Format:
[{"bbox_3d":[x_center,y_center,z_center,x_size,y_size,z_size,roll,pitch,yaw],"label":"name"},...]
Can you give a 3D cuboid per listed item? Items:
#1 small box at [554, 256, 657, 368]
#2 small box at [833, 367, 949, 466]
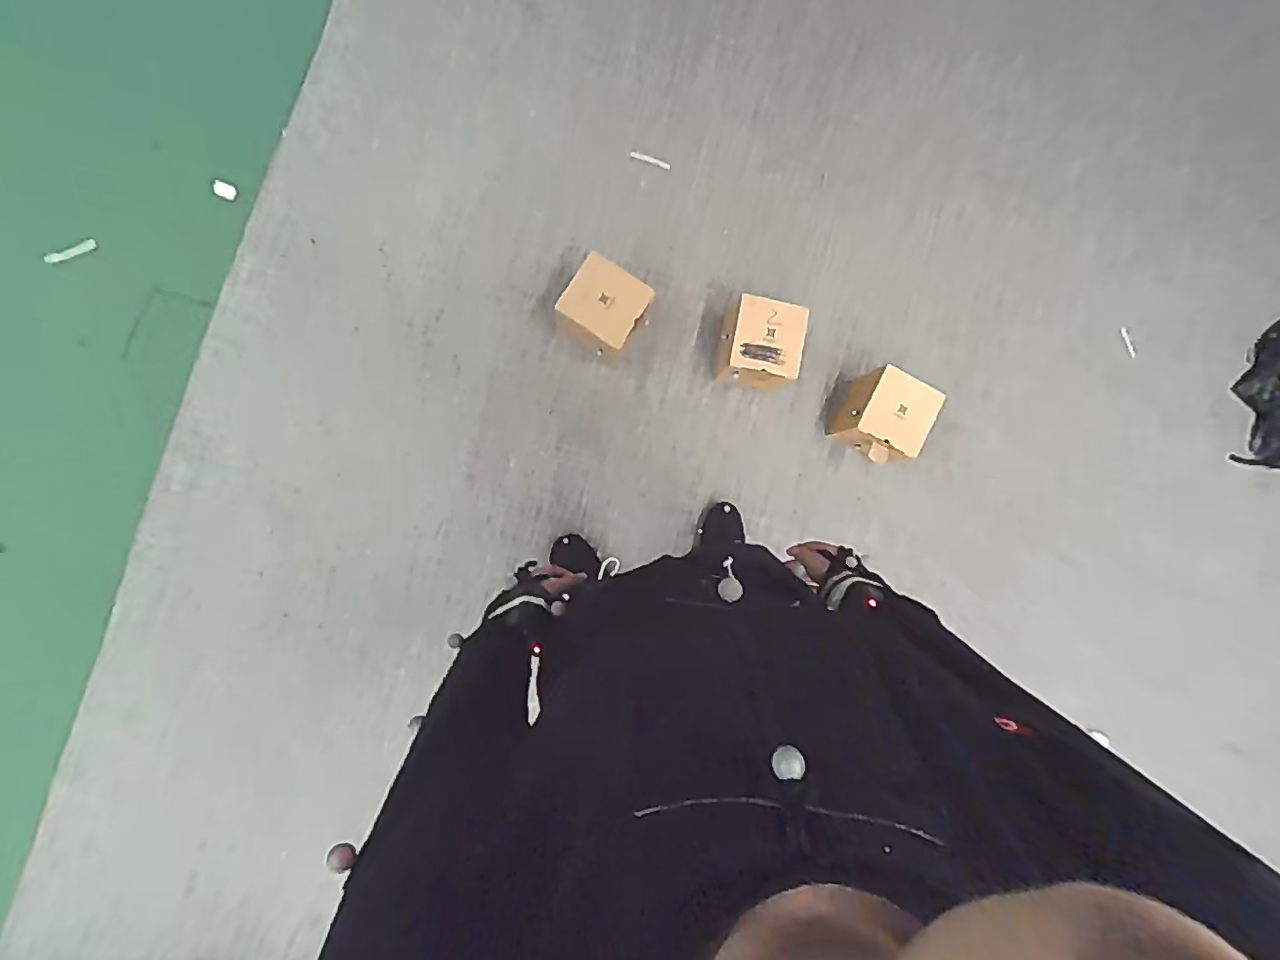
[{"bbox_3d":[-0.081,-0.384,1.280,0.179,0.176,0.168,32,84,-2],"label":"small box"},{"bbox_3d":[0.610,-0.148,1.336,0.168,0.176,0.179,27,86,-4],"label":"small box"}]
